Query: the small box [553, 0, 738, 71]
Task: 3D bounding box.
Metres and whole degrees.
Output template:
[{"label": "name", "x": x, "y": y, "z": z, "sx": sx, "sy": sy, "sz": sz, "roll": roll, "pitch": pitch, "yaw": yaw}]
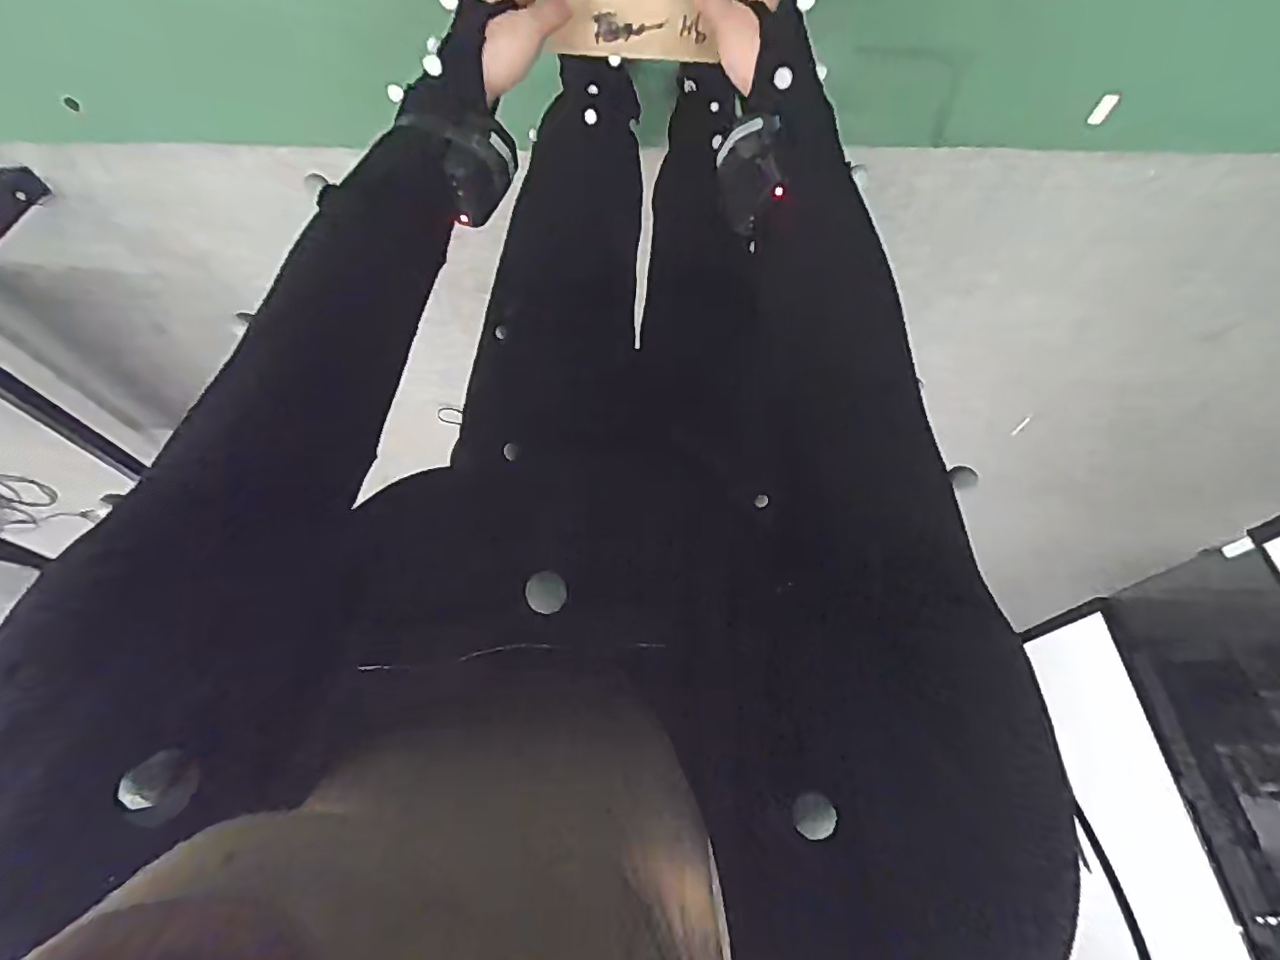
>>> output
[{"label": "small box", "x": 0.006, "y": -0.507, "z": 0.478, "sx": 0.168, "sy": 0.176, "sz": 0.179, "roll": 1, "pitch": 151, "yaw": -4}]
